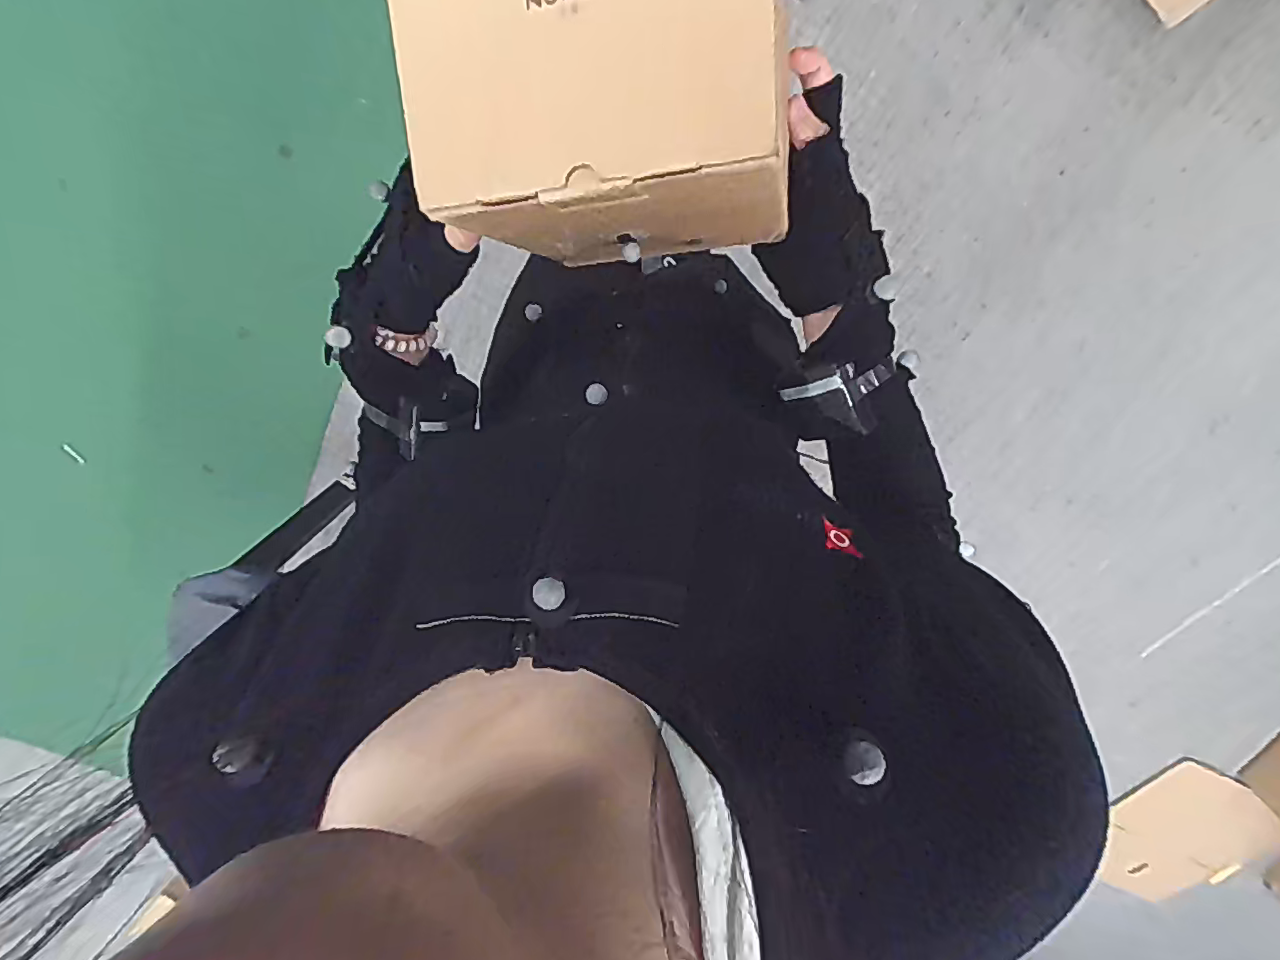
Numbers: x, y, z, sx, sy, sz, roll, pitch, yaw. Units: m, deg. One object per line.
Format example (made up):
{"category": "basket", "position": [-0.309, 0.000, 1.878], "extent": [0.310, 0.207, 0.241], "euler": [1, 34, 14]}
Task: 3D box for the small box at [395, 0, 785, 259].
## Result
{"category": "small box", "position": [-0.009, -0.232, 0.296], "extent": [0.168, 0.176, 0.179], "euler": [-1, 105, 17]}
